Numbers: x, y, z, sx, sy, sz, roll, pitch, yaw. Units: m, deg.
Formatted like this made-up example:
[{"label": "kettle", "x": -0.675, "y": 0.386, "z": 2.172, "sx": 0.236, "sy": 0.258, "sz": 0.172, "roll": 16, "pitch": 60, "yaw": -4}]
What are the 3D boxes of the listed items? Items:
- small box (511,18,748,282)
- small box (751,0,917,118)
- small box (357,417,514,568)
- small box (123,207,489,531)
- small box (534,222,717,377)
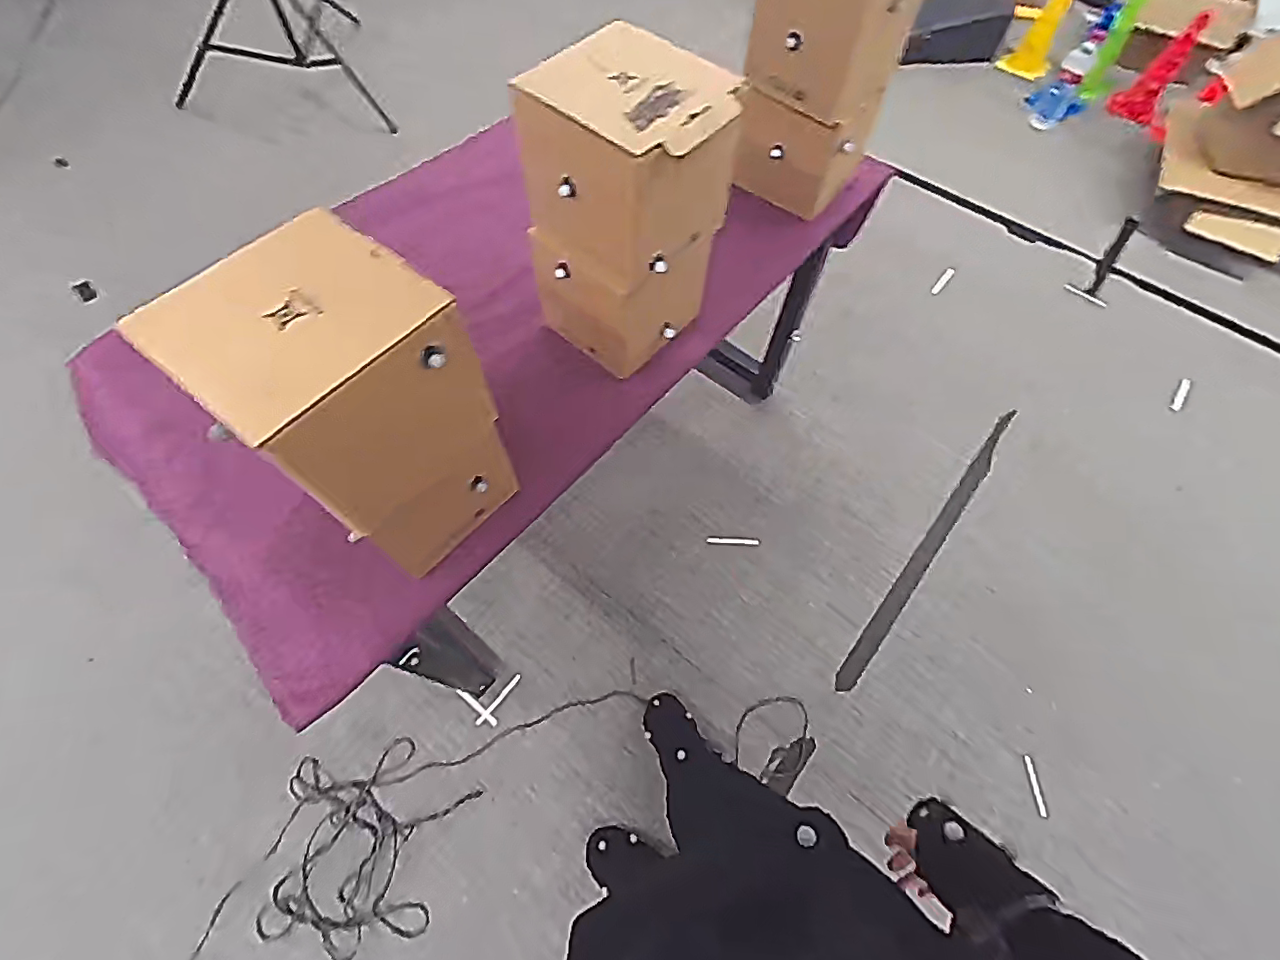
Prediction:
[{"label": "small box", "x": -0.010, "y": -0.352, "z": 0.600, "sx": 0.179, "sy": 0.176, "sz": 0.168, "roll": 39, "pitch": 69, "yaw": 16}, {"label": "small box", "x": 0.272, "y": -0.649, "z": 0.753, "sx": 0.168, "sy": 0.176, "sz": 0.179, "roll": 40, "pitch": 70, "yaw": 16}, {"label": "small box", "x": -0.267, "y": -0.020, "z": 0.614, "sx": 0.179, "sy": 0.176, "sz": 0.168, "roll": 38, "pitch": 67, "yaw": 16}, {"label": "small box", "x": -0.255, "y": -0.085, "z": 0.465, "sx": 0.168, "sy": 0.176, "sz": 0.179, "roll": 35, "pitch": 66, "yaw": 14}, {"label": "small box", "x": -0.022, "y": -0.281, "z": 0.749, "sx": 0.168, "sy": 0.176, "sz": 0.179, "roll": 39, "pitch": 68, "yaw": 15}]
